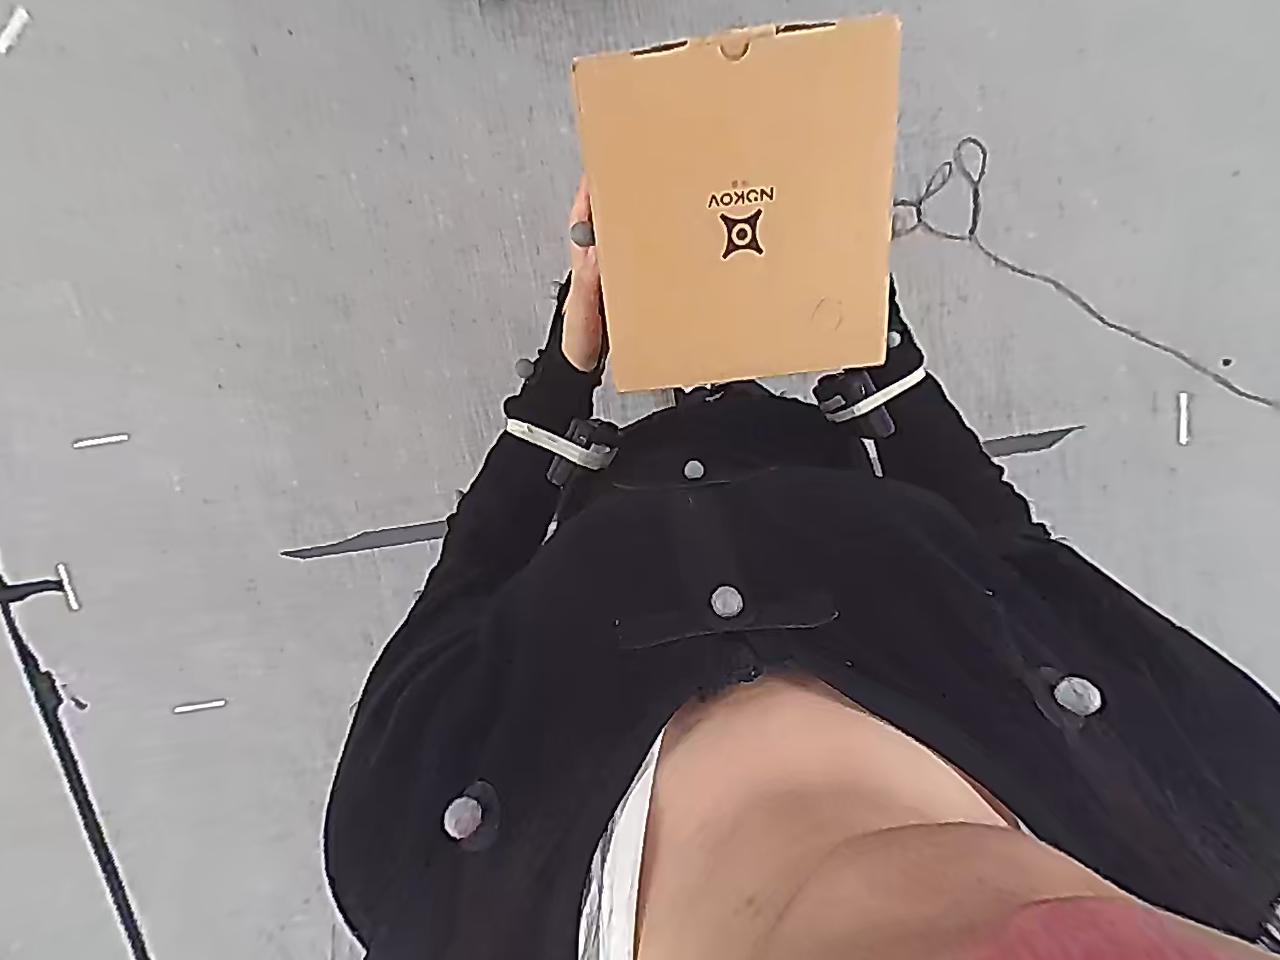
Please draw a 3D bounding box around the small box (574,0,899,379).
[{"bbox_3d":[0.059,-0.180,0.375,0.168,0.176,0.179,-6,110,4],"label":"small box"}]
